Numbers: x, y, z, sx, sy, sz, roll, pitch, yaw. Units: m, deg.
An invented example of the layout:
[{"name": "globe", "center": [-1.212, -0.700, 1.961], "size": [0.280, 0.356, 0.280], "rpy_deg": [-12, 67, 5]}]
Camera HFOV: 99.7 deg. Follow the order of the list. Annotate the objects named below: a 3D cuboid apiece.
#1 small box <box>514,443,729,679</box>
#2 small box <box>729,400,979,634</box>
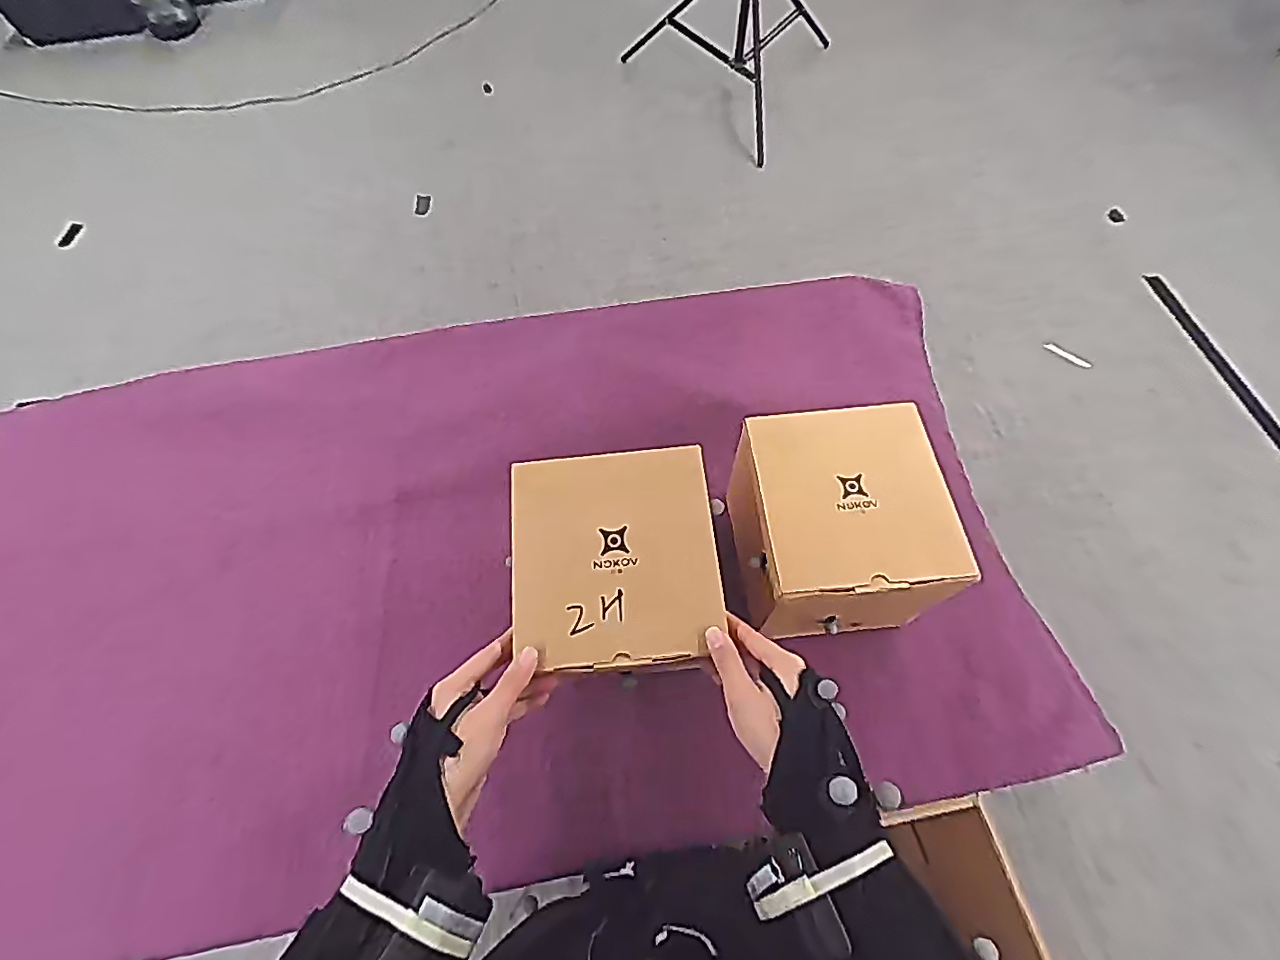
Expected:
[{"name": "small box", "center": [-0.018, 0.085, 0.511], "size": [0.168, 0.176, 0.179], "rpy_deg": [-7, 68, 0]}, {"name": "small box", "center": [0.190, 0.044, 0.546], "size": [0.168, 0.176, 0.179], "rpy_deg": [-6, 63, 0]}]
